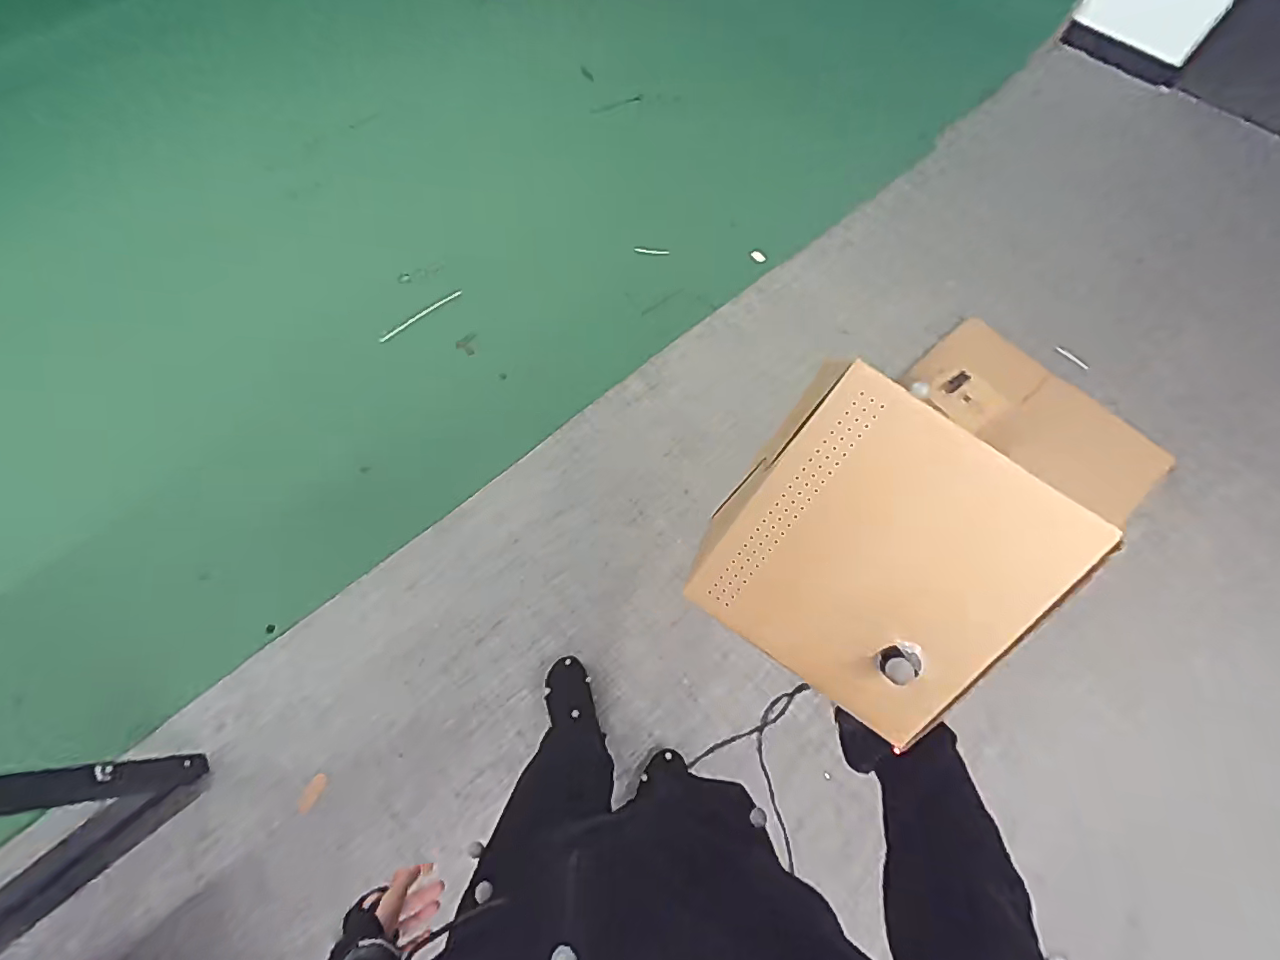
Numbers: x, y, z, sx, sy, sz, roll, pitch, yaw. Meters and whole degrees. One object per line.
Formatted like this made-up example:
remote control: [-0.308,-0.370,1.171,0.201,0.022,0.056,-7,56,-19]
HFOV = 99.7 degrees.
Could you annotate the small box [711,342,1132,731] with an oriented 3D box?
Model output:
small box: [0.163,0.026,0.387,0.176,0.168,0.179,36,108,4]
